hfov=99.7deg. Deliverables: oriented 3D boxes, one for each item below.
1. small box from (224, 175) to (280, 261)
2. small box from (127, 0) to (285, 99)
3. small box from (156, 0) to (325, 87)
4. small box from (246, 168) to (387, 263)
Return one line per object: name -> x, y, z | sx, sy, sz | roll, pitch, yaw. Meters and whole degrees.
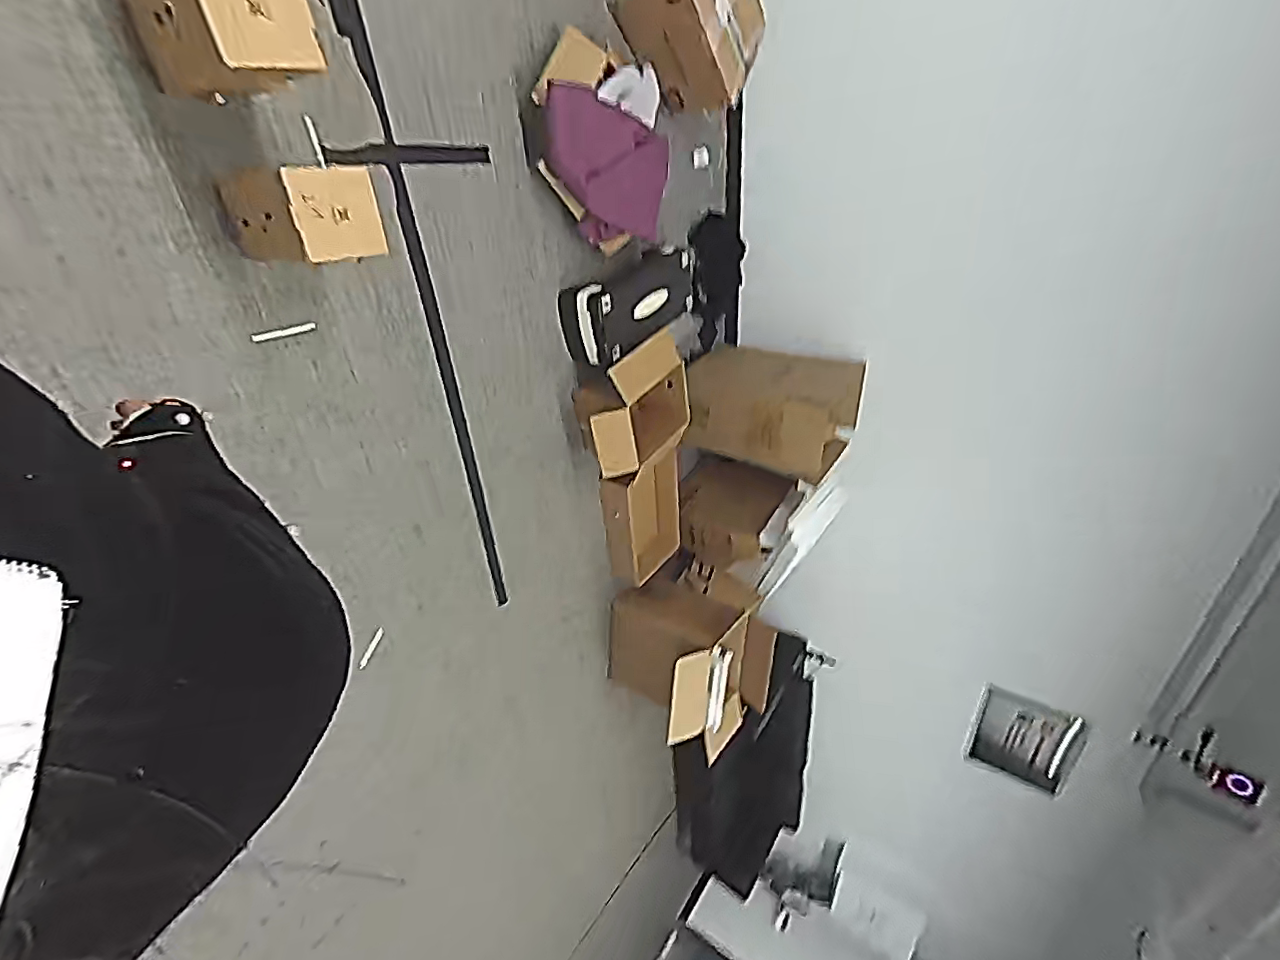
small box -> -0.800, -0.593, 1.224 | 0.179, 0.176, 0.168 | -35, 132, -43
small box -> -0.839, -0.855, 1.043 | 0.168, 0.176, 0.179 | -37, 134, -42
small box -> -0.709, -0.811, 0.956 | 0.179, 0.176, 0.168 | -39, 132, -40
small box -> -0.670, -0.552, 1.128 | 0.179, 0.176, 0.168 | -34, 130, -44
